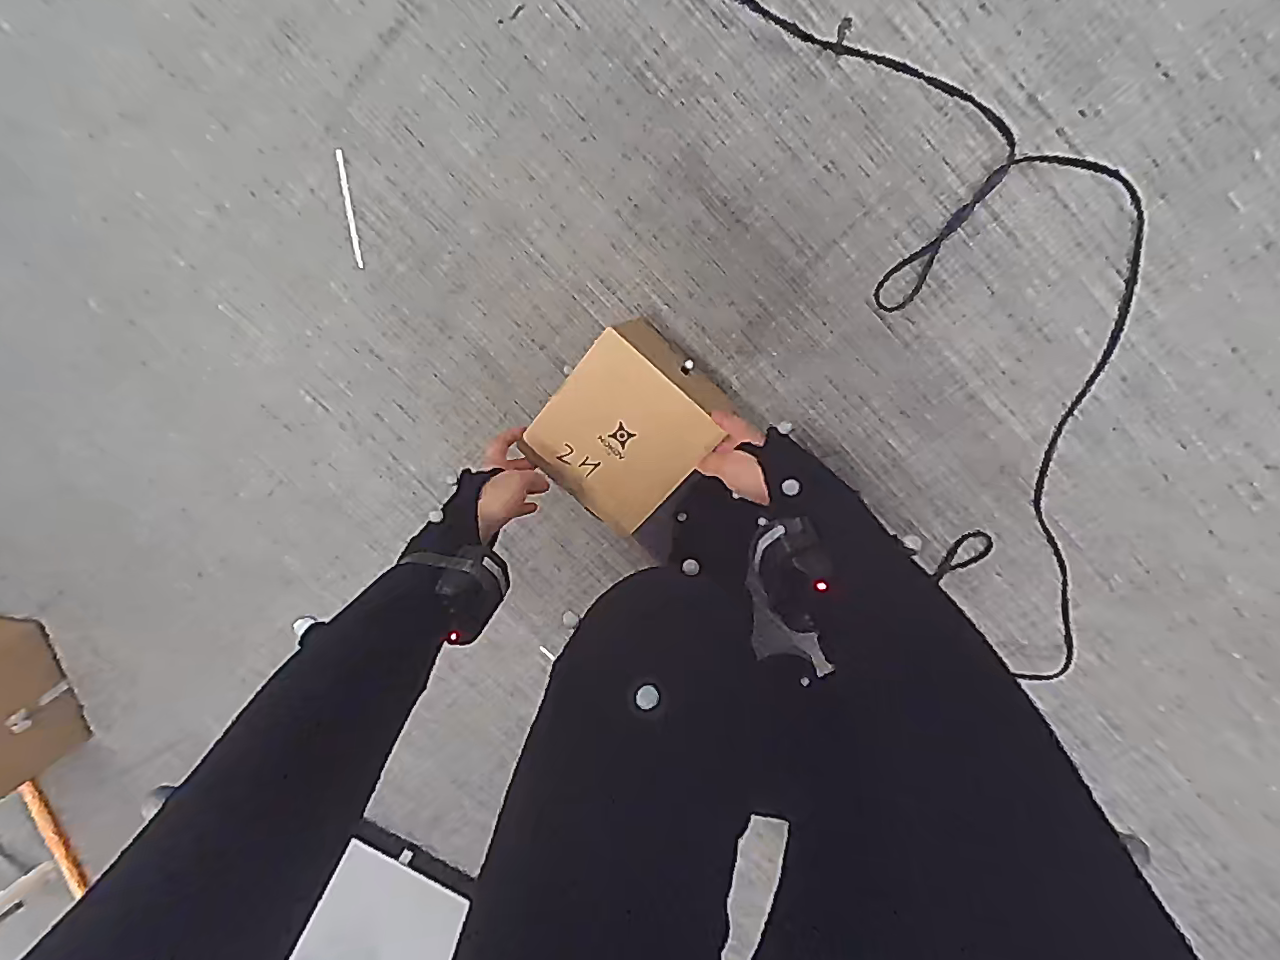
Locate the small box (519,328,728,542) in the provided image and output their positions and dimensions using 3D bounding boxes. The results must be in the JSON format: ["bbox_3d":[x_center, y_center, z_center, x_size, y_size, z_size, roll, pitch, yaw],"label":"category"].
[{"bbox_3d":[-0.010,-0.065,0.656,0.168,0.176,0.179,40,112,-4],"label":"small box"}]
